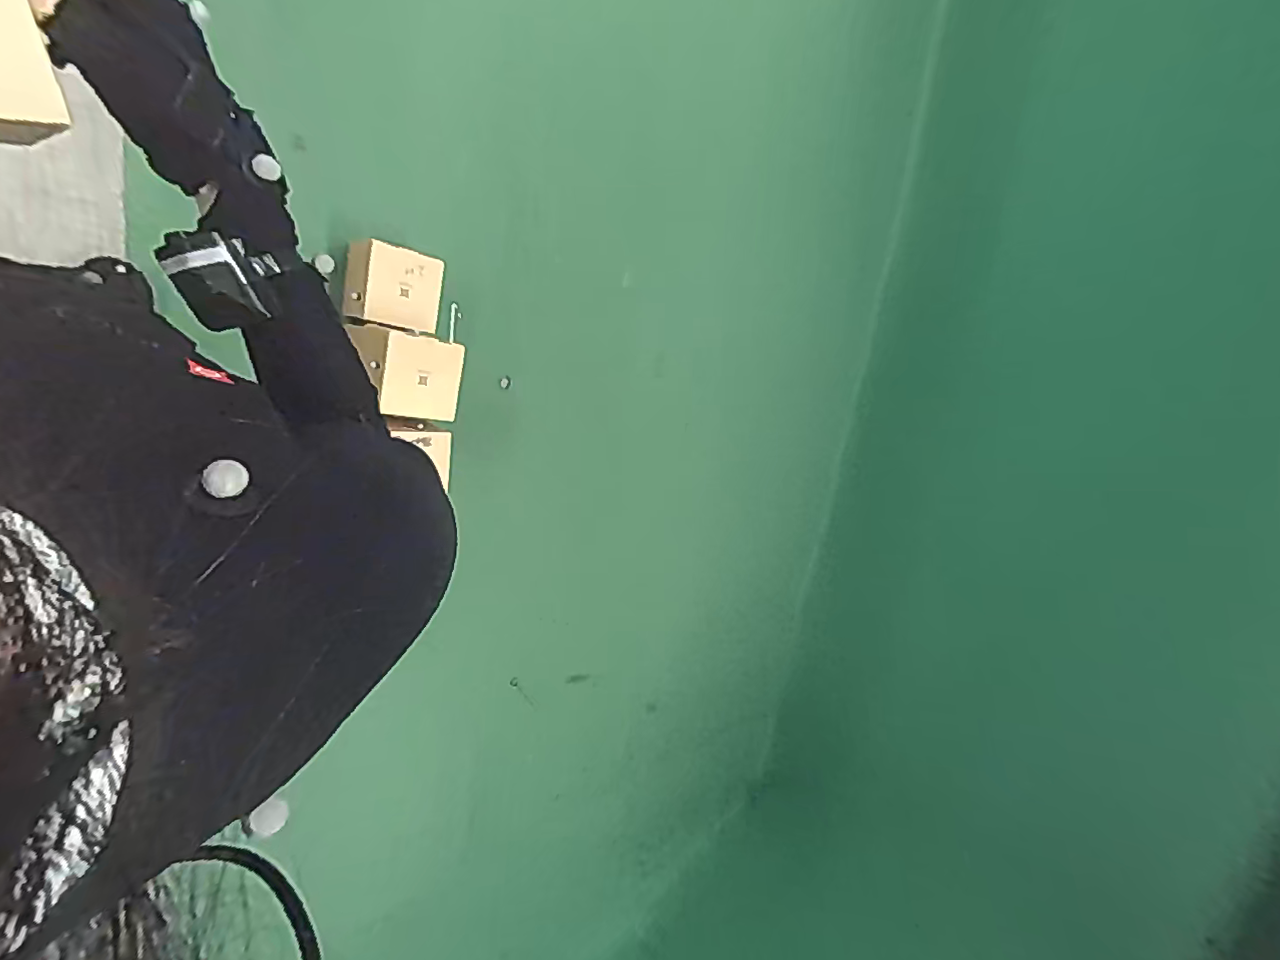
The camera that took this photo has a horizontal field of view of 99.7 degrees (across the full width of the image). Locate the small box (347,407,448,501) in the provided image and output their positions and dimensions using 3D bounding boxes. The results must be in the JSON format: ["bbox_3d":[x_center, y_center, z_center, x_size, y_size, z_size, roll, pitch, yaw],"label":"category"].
[{"bbox_3d":[-0.568,-0.063,1.260,0.168,0.176,0.179,-3,109,-44],"label":"small box"}]

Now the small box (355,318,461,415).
[{"bbox_3d":[-0.529,-0.257,1.223,0.168,0.176,0.179,4,102,-44],"label":"small box"}]
